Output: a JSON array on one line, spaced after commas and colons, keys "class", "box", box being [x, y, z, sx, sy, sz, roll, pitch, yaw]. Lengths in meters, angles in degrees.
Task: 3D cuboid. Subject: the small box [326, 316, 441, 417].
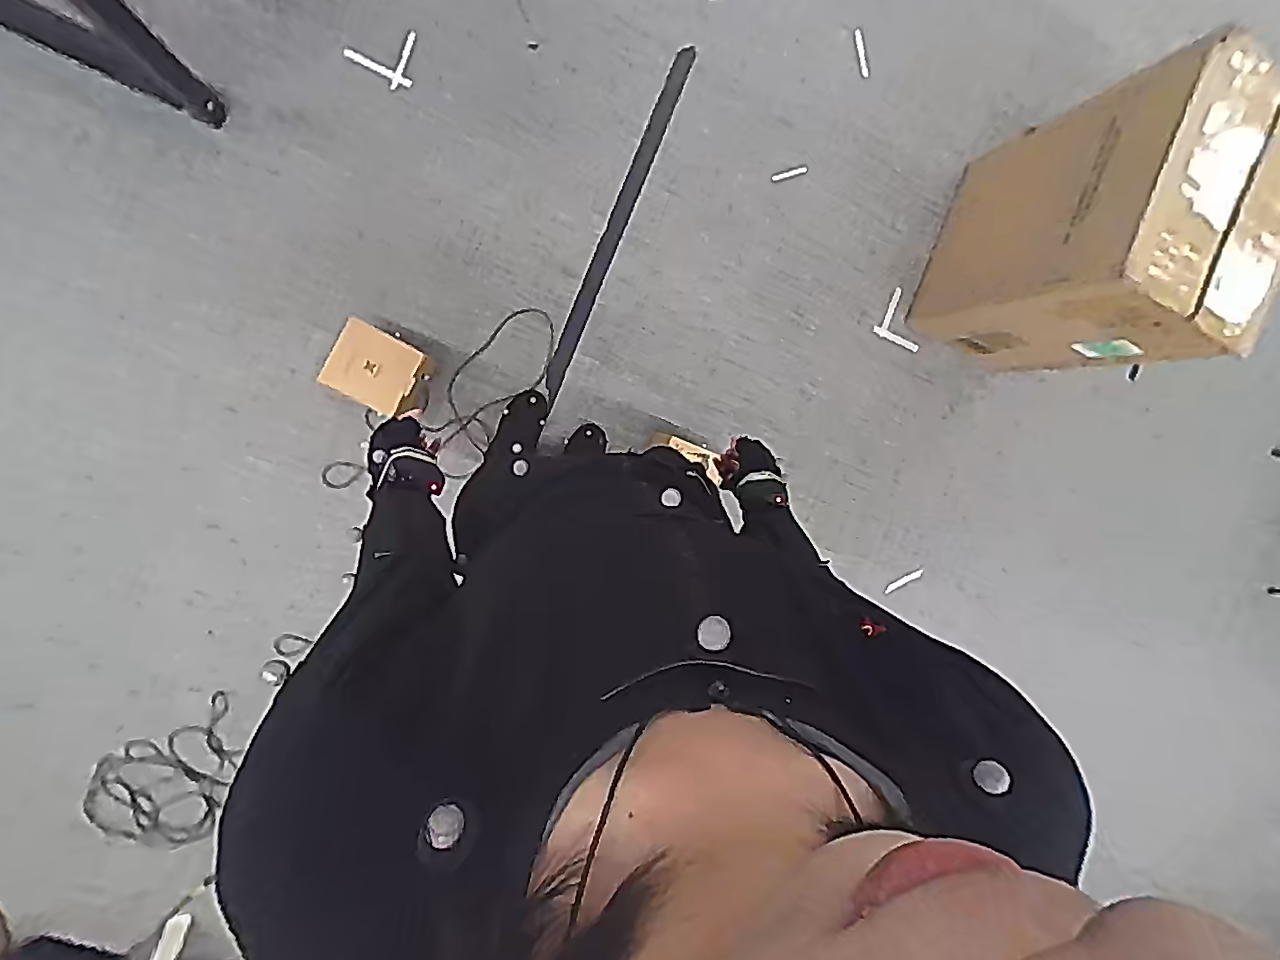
[{"class": "small box", "box": [-0.597, -0.262, 1.287, 0.179, 0.176, 0.168, 27, 89, -12]}]

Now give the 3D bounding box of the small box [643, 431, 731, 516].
[{"class": "small box", "box": [0.119, -0.022, 1.482, 0.168, 0.176, 0.179, 21, 94, -15]}]
